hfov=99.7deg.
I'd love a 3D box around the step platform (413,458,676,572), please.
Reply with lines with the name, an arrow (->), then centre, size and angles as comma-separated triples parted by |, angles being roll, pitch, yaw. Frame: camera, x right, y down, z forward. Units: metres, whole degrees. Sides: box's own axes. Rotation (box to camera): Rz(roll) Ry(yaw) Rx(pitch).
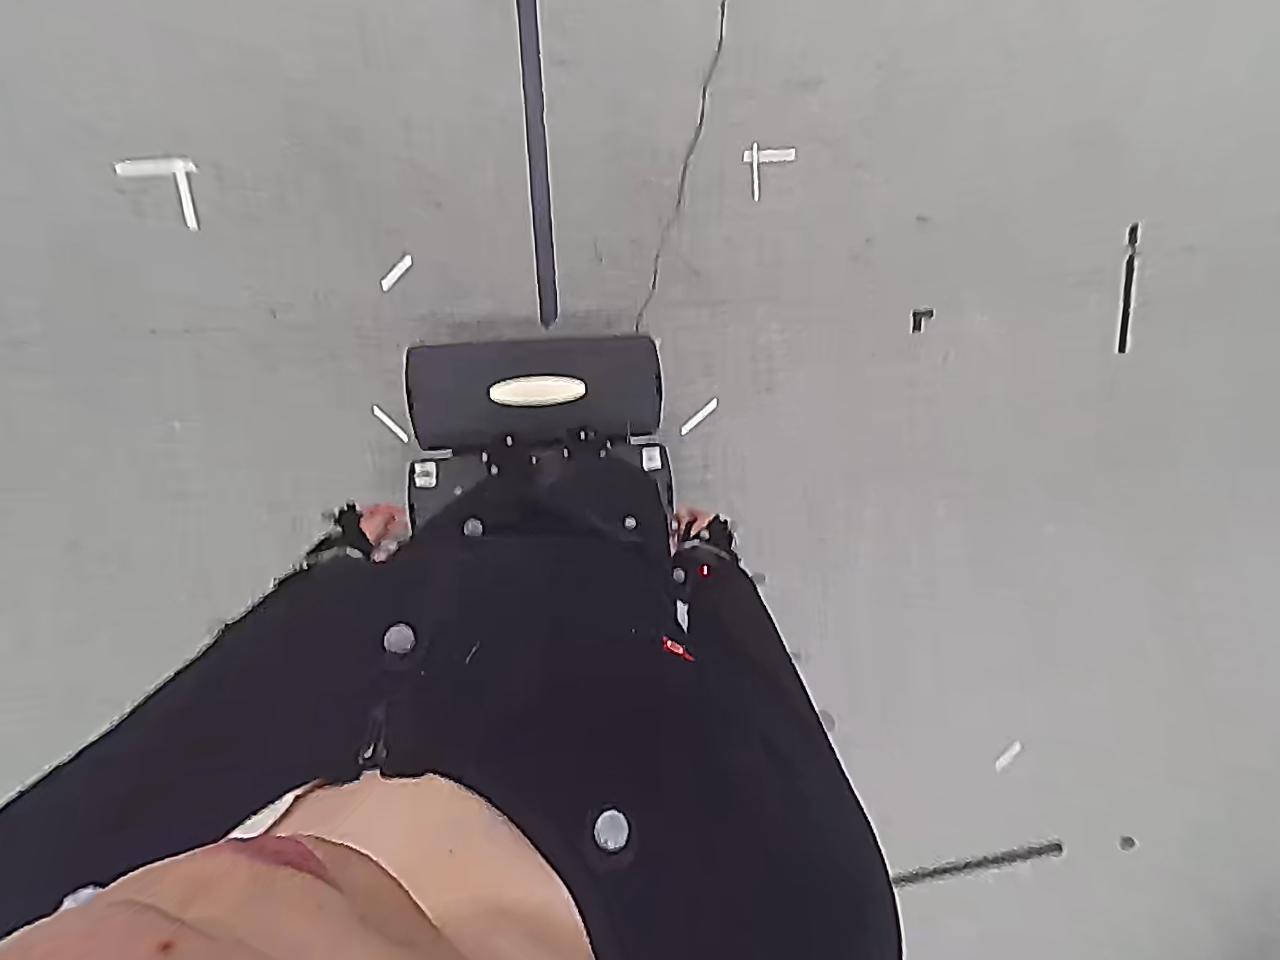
step platform -> -0.244, 0.089, 1.460 | 0.684, 0.204, 0.286 | 0, 96, -7
